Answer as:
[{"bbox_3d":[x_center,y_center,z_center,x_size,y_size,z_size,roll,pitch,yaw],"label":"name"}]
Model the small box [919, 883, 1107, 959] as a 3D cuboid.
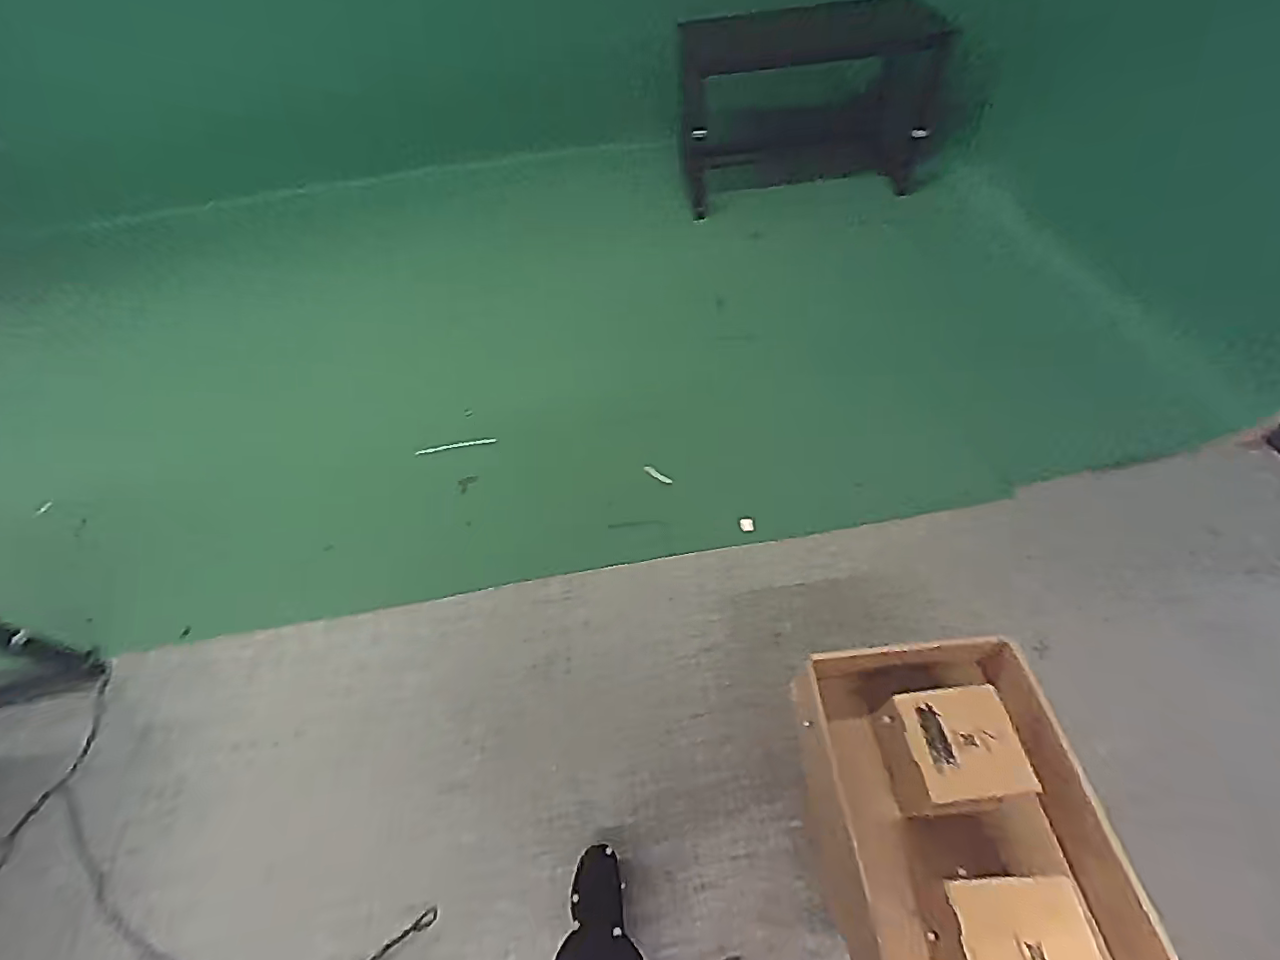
[{"bbox_3d":[0.541,0.691,0.784,0.179,0.176,0.168,-6,53,3],"label":"small box"}]
